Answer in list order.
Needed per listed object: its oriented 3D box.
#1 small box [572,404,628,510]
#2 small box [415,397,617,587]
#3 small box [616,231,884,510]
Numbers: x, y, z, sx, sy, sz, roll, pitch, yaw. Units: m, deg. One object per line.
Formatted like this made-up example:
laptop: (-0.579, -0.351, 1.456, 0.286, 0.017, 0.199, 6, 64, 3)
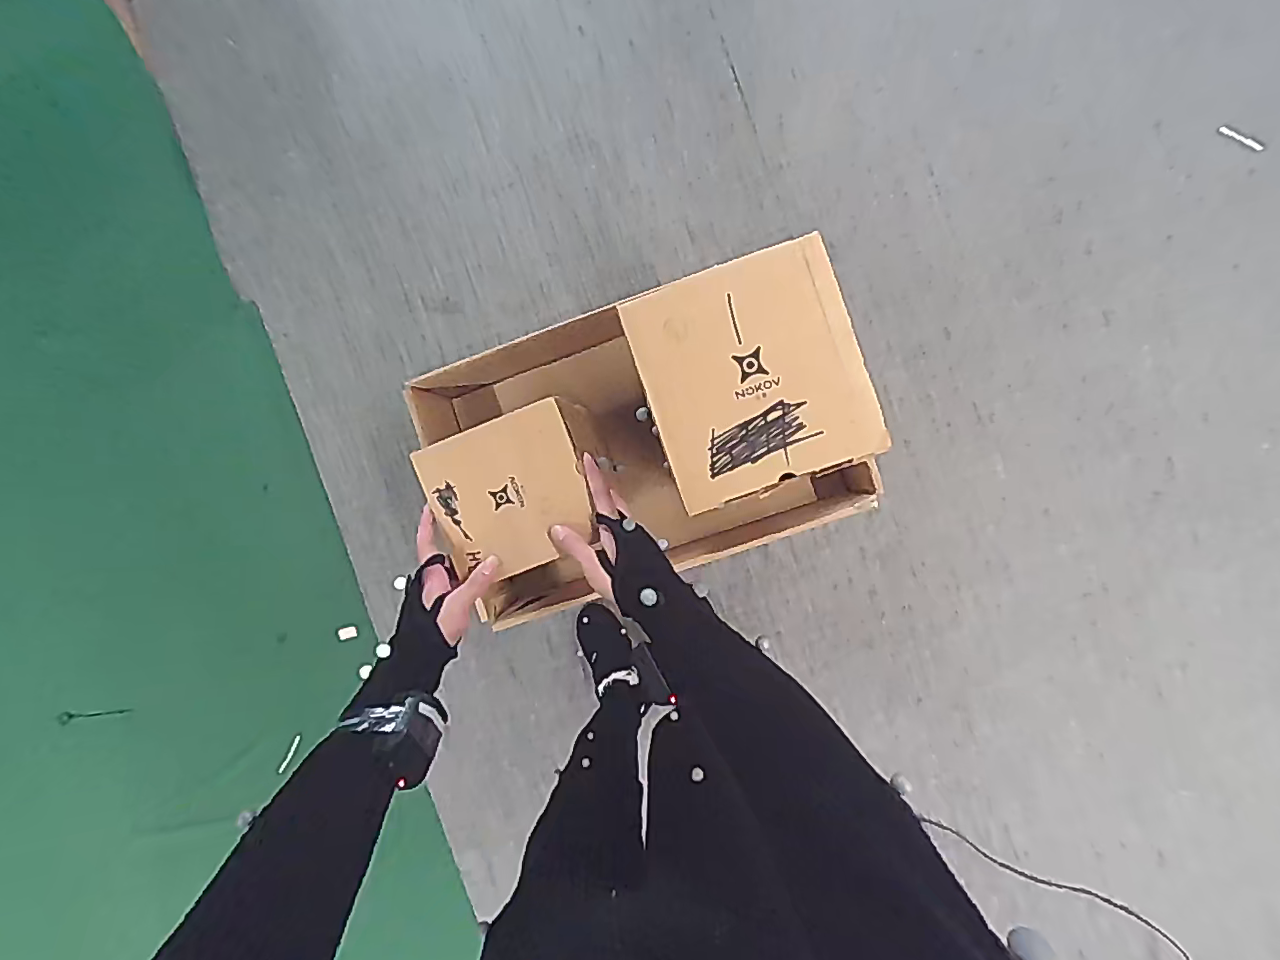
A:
small box: (-0.130, -0.005, 0.846, 0.179, 0.176, 0.168, -20, 90, 4)
small box: (-0.134, 0.010, 0.664, 0.179, 0.176, 0.168, -21, 91, 4)
small box: (0.091, -0.085, 0.494, 0.168, 0.176, 0.179, -19, 89, 5)
